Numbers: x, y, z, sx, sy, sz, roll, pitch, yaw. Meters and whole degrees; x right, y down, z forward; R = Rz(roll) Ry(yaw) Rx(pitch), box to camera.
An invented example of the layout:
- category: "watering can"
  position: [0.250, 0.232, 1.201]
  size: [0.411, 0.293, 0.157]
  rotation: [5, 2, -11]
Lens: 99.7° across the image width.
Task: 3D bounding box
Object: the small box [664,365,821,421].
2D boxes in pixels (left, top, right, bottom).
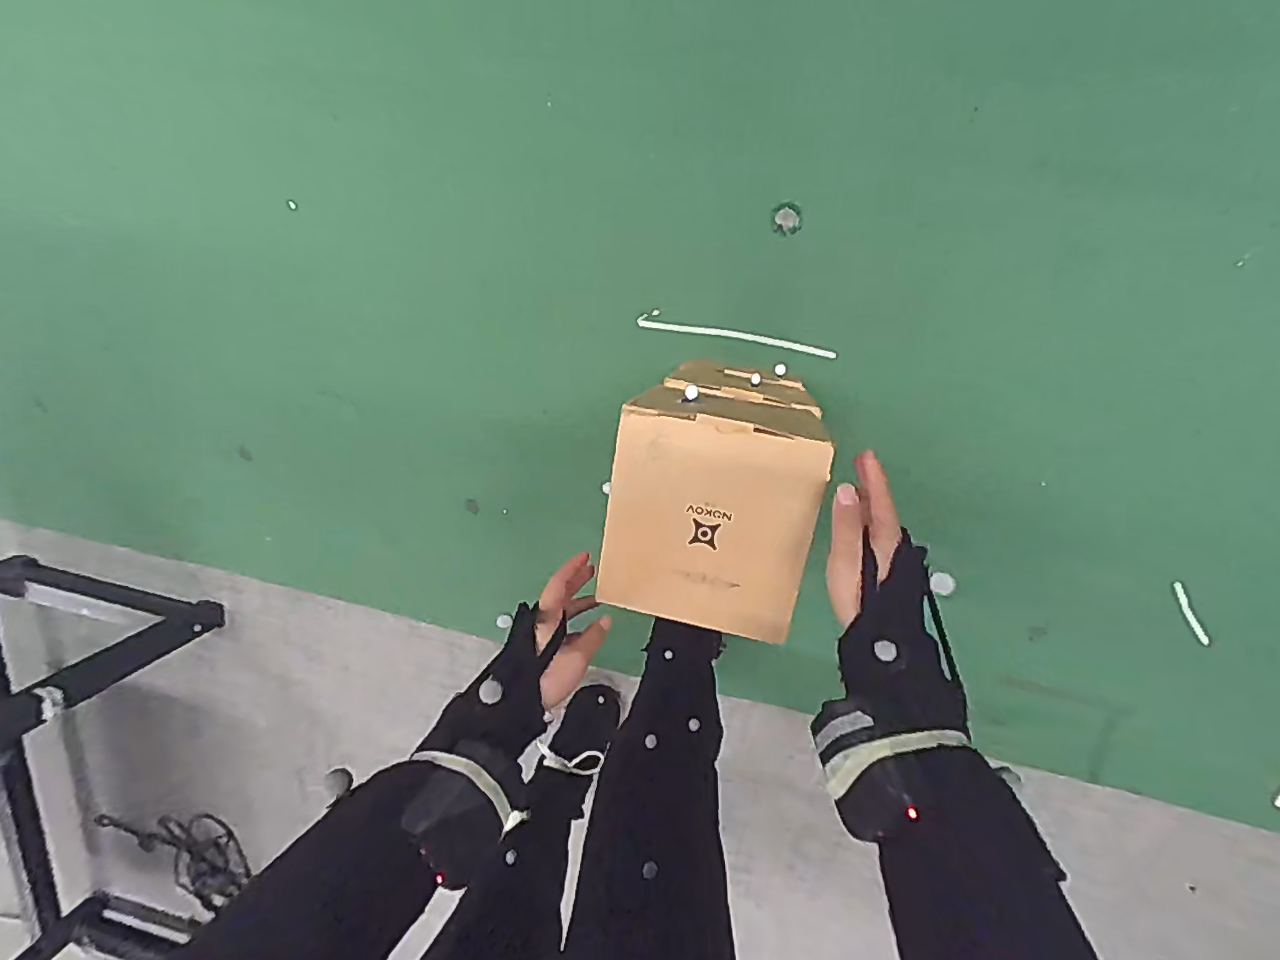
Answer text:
- category: "small box"
  position: [0.107, -0.035, 0.654]
  size: [0.168, 0.176, 0.179]
  rotation: [13, 107, 8]

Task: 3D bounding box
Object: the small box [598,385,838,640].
- category: "small box"
  position: [0.070, 0.013, 0.503]
  size: [0.168, 0.176, 0.179]
  rotation: [11, 108, 10]
